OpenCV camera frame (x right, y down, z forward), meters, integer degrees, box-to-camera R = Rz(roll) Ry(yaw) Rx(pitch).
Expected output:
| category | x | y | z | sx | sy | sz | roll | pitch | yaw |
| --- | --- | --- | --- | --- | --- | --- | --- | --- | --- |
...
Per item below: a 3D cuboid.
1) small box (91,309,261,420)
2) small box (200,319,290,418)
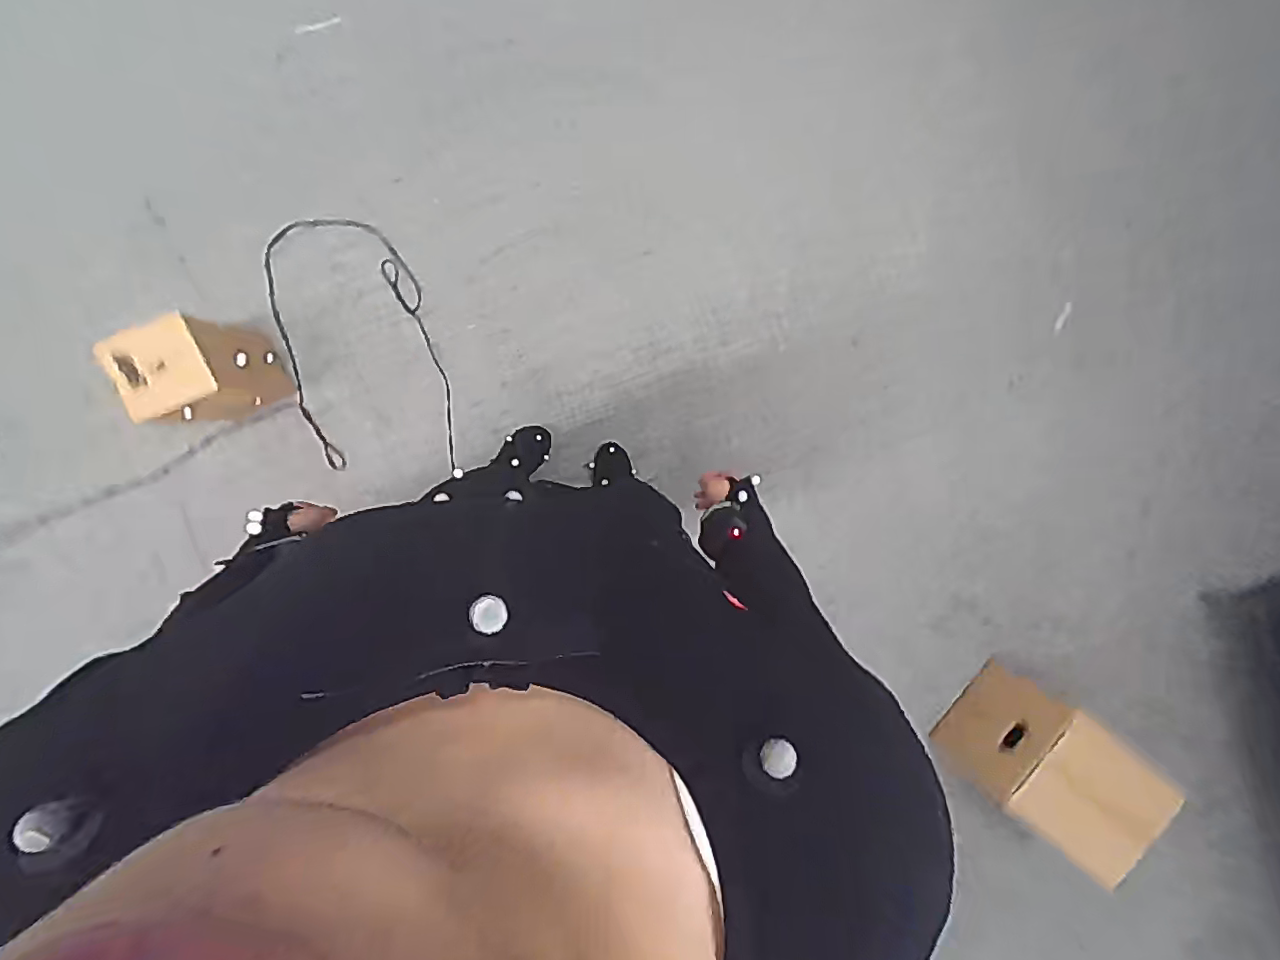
| category | x | y | z | sx | sy | sz | roll | pitch | yaw |
| --- | --- | --- | --- | --- | --- | --- | --- | --- | --- |
| small box | -0.953 | -0.231 | 1.130 | 0.179 | 0.176 | 0.168 | -24 | 97 | -4 |
| small box | -0.981 | -0.258 | 1.290 | 0.179 | 0.176 | 0.168 | -27 | 96 | -3 |
